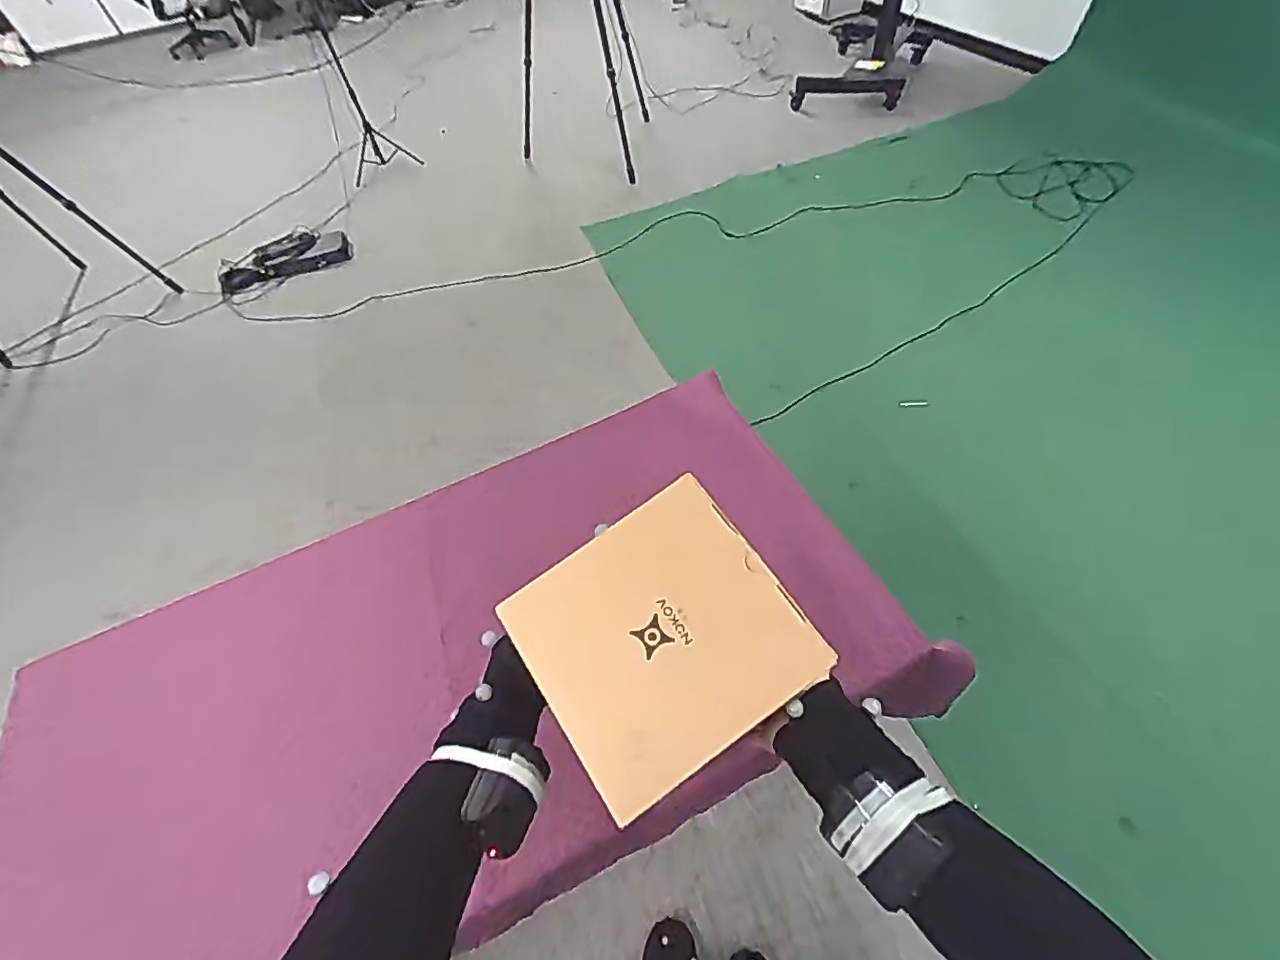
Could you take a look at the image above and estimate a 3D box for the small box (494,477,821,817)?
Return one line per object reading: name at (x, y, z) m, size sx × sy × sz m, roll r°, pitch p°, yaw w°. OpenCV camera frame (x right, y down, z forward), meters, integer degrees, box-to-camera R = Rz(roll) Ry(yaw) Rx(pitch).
small box at (0.017, 0.133, 0.447) m, size 0.179 × 0.176 × 0.168 m, roll -35°, pitch 69°, yaw -7°
